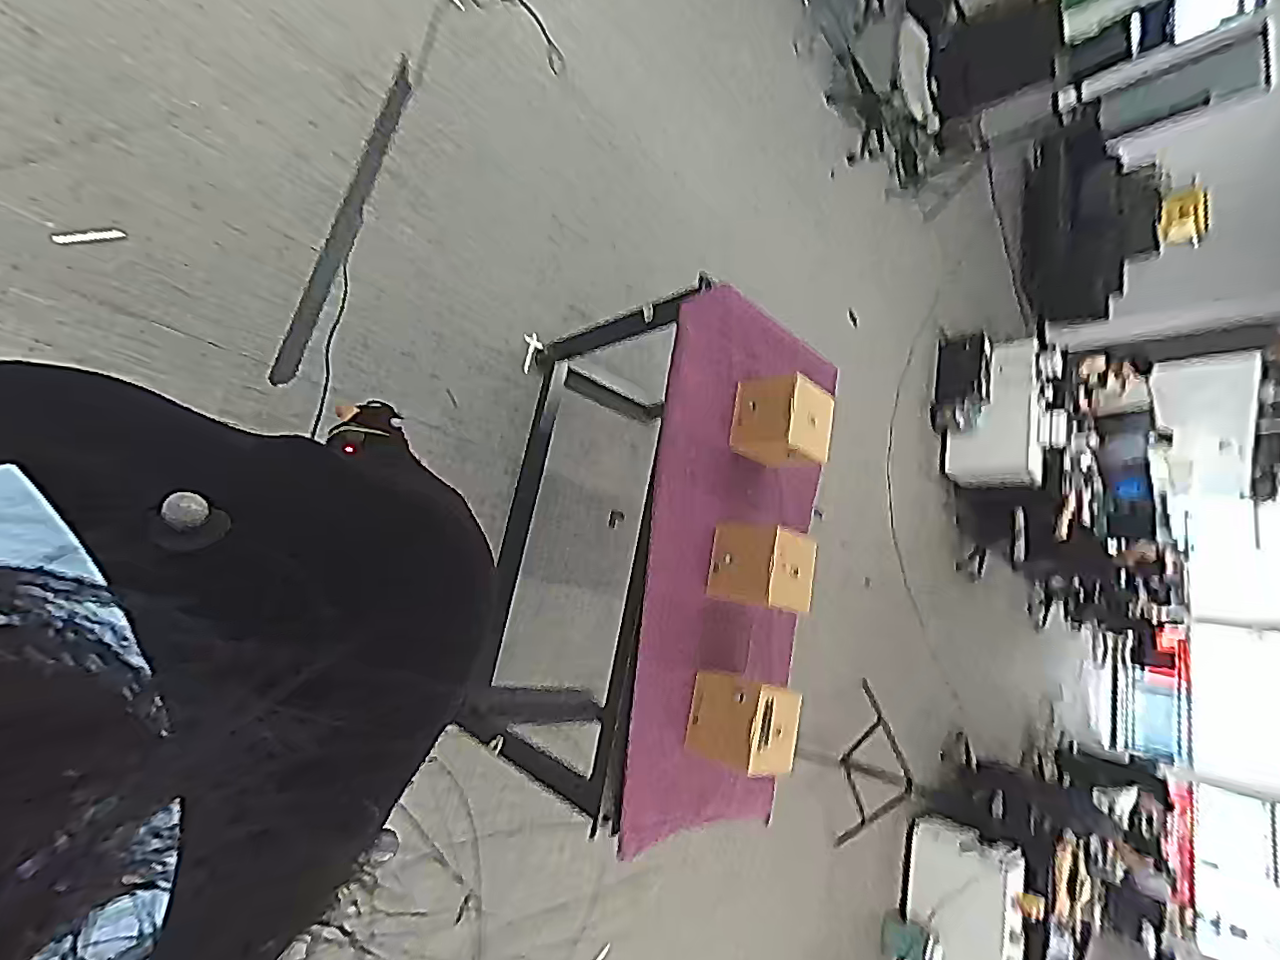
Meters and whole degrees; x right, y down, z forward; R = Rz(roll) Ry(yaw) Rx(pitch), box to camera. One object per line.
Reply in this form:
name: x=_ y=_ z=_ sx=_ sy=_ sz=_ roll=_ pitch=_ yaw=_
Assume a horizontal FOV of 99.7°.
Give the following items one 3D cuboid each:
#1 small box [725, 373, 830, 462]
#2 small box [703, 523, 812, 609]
small box: x=0.336 y=-0.145 z=1.321 sx=0.179 sy=0.176 sz=0.168 roll=19 pitch=77 yaw=-40
small box: x=0.273 y=0.196 z=1.253 sx=0.179 sy=0.176 sz=0.168 roll=21 pitch=74 yaw=-41
